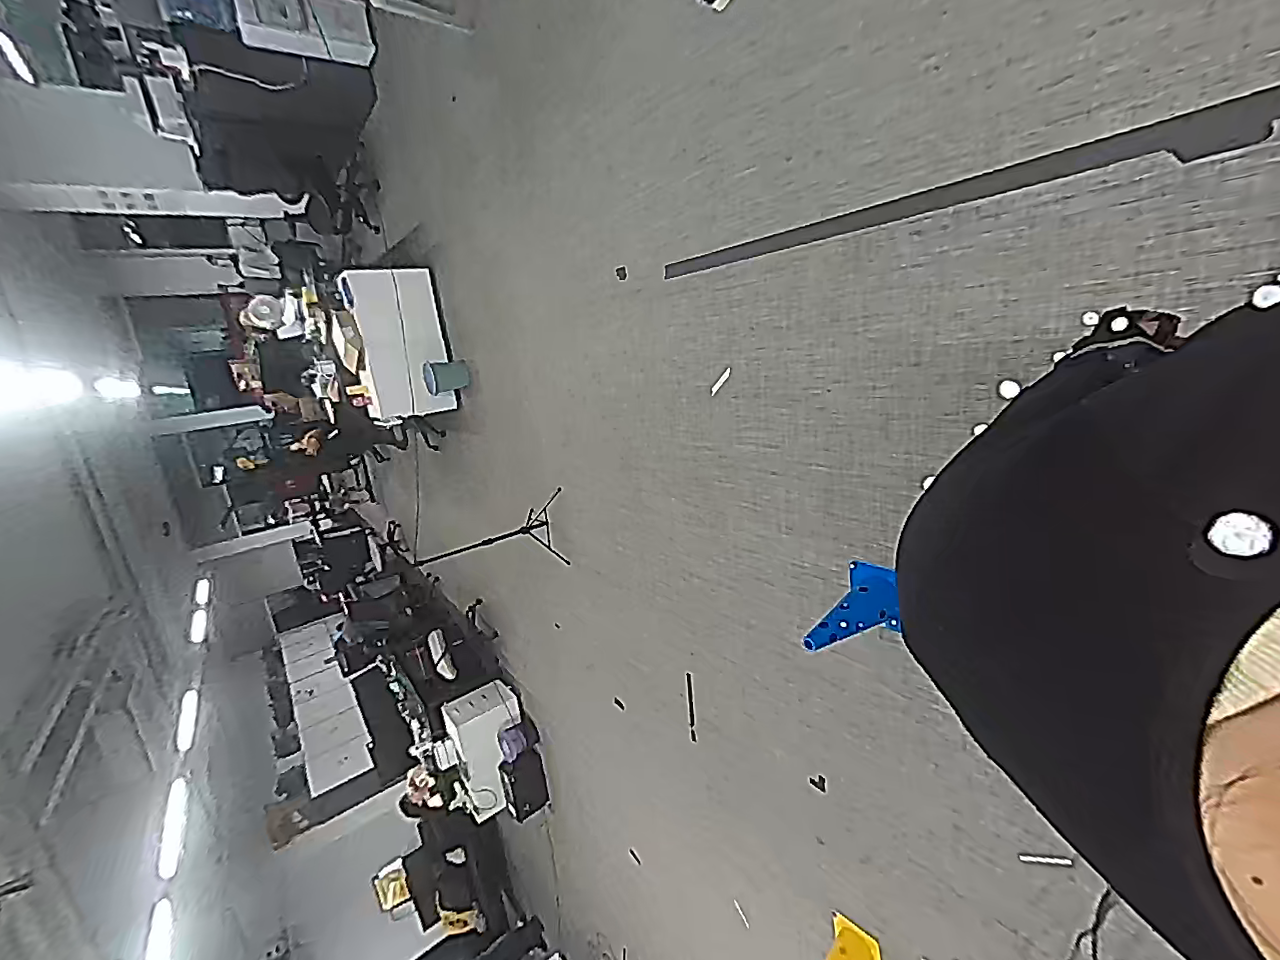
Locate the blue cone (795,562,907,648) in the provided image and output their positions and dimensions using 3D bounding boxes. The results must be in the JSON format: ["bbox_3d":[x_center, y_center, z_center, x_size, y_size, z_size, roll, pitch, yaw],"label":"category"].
[{"bbox_3d":[0.587,0.392,1.553,0.192,0.380,0.193,15,116,53],"label":"blue cone"}]
